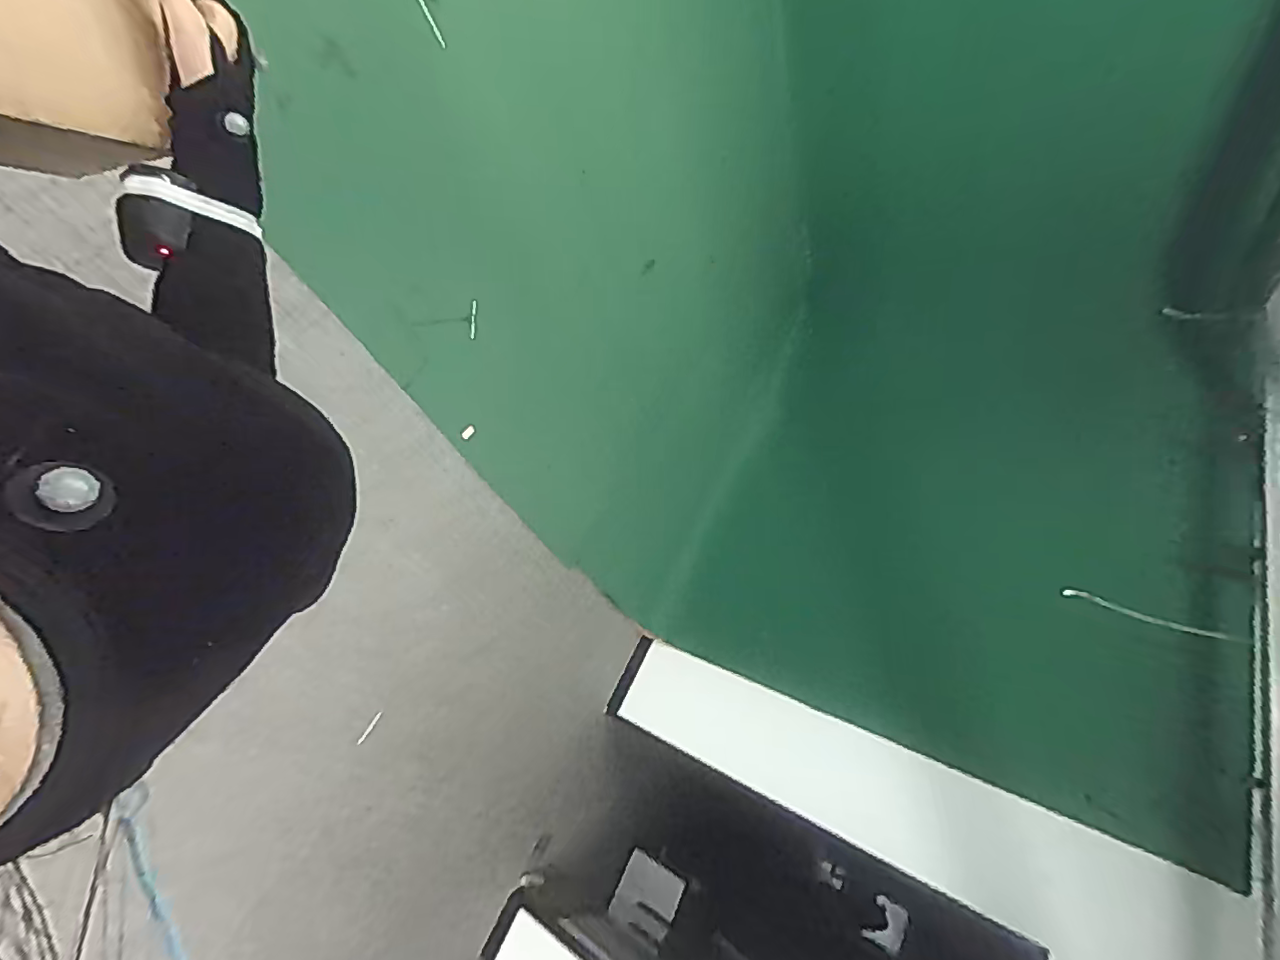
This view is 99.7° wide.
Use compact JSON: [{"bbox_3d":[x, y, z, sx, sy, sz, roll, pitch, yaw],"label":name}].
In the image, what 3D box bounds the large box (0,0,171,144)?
[{"bbox_3d":[-0.594,-0.423,0.310,0.408,0.320,0.320,-19,120,-52],"label":"large box"}]
